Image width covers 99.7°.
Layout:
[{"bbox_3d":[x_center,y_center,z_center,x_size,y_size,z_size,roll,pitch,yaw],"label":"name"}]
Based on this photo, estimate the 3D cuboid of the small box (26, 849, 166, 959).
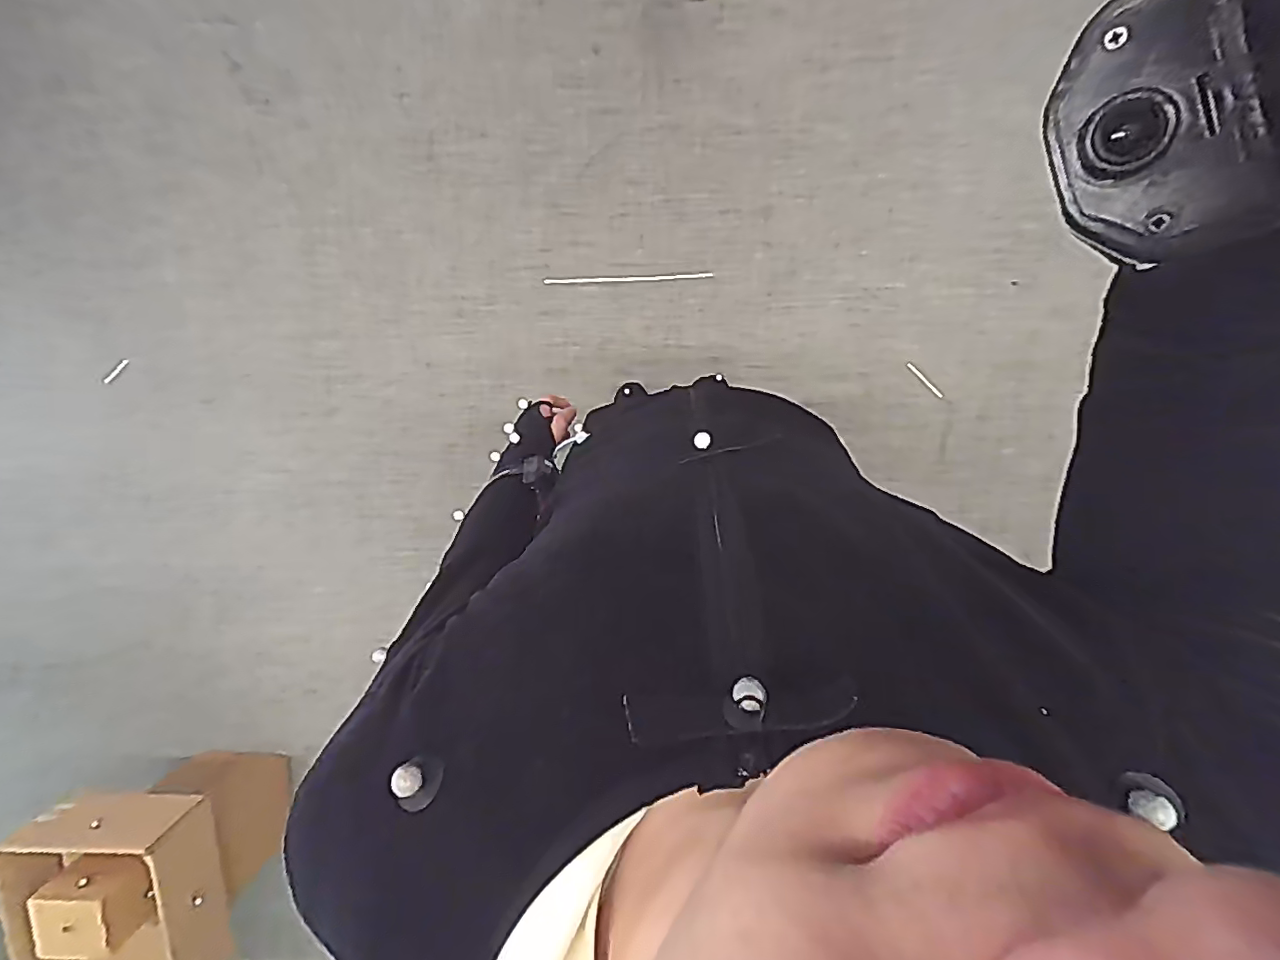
[{"bbox_3d":[-1.335,1.051,1.337,0.179,0.176,0.168,1,98,1],"label":"small box"}]
